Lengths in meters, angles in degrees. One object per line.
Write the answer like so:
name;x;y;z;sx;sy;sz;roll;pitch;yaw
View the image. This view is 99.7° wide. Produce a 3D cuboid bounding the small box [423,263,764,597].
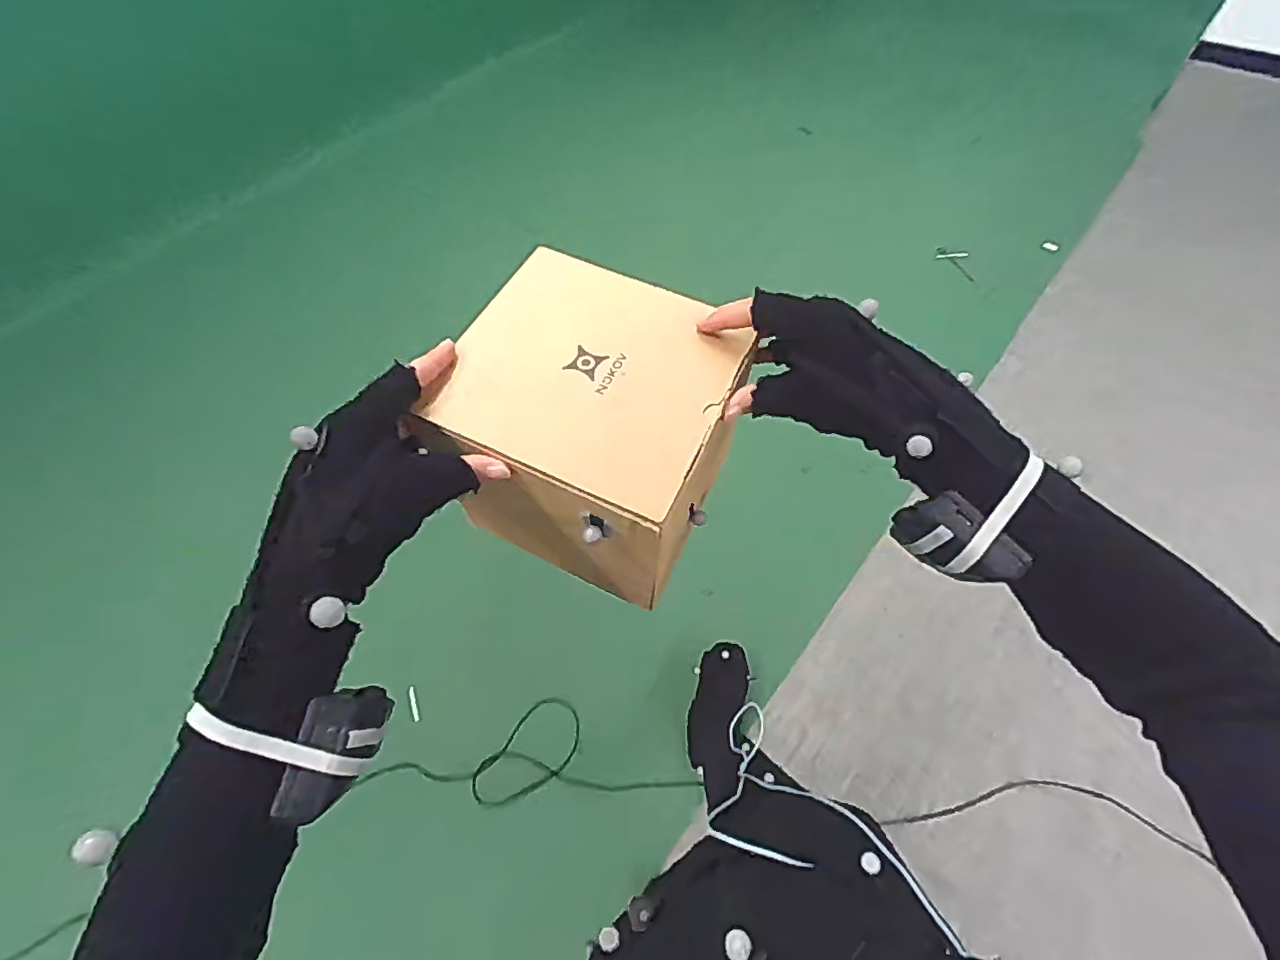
small box;-0.028;-0.029;0.426;0.179;0.176;0.168;24;63;11
